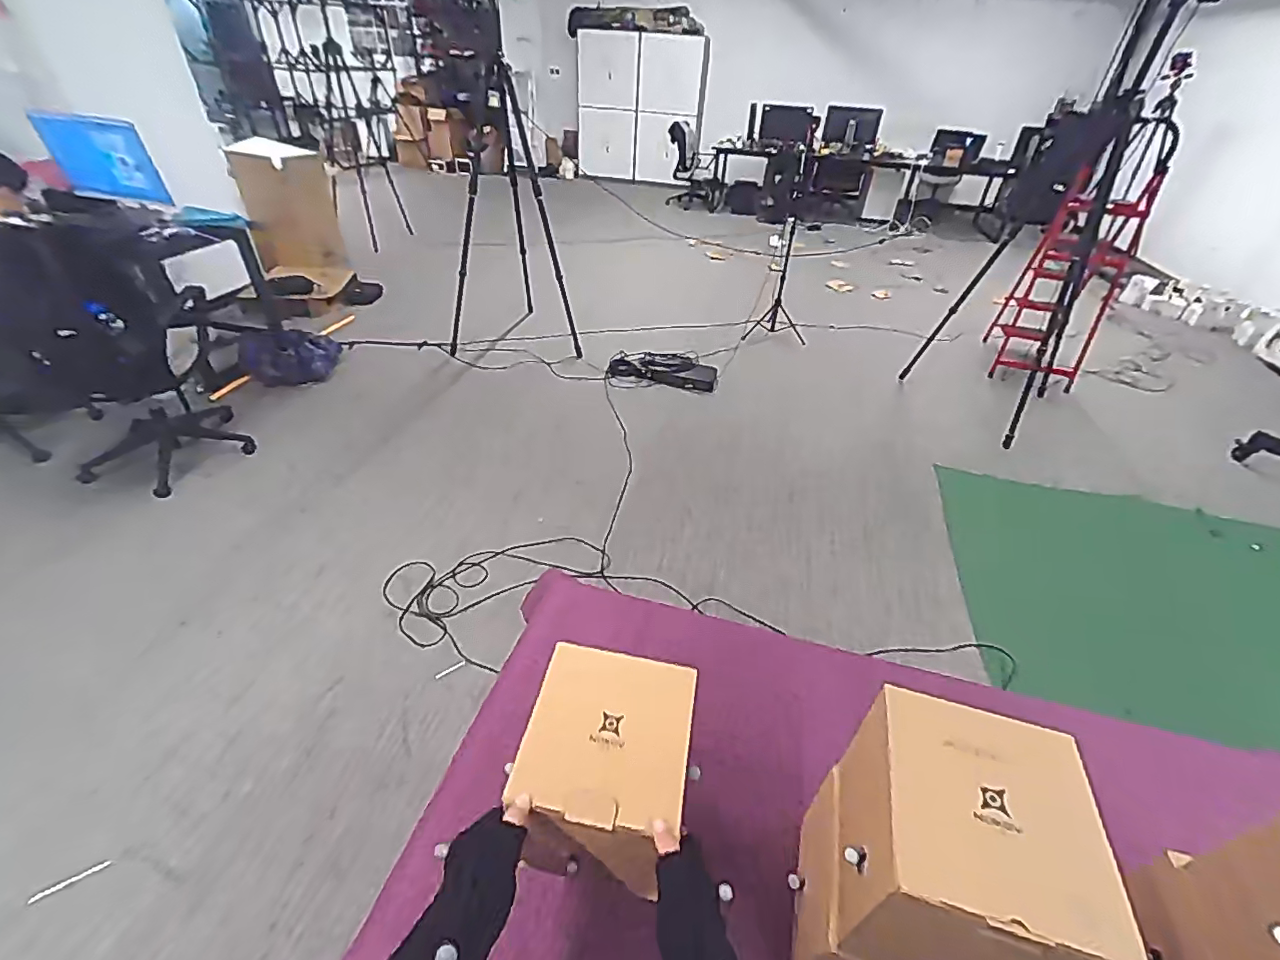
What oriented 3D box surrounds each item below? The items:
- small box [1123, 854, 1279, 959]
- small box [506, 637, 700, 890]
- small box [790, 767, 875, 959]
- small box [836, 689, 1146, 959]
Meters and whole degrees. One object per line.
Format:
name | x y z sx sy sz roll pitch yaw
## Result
small box | 0.598 0.519 0.528 0.168 0.176 0.179 16 40 12
small box | -0.036 0.308 0.594 0.168 0.176 0.179 10 40 5
small box | 0.266 0.457 0.583 0.168 0.176 0.179 14 40 12
small box | 0.282 0.329 0.483 0.168 0.176 0.179 14 39 12
